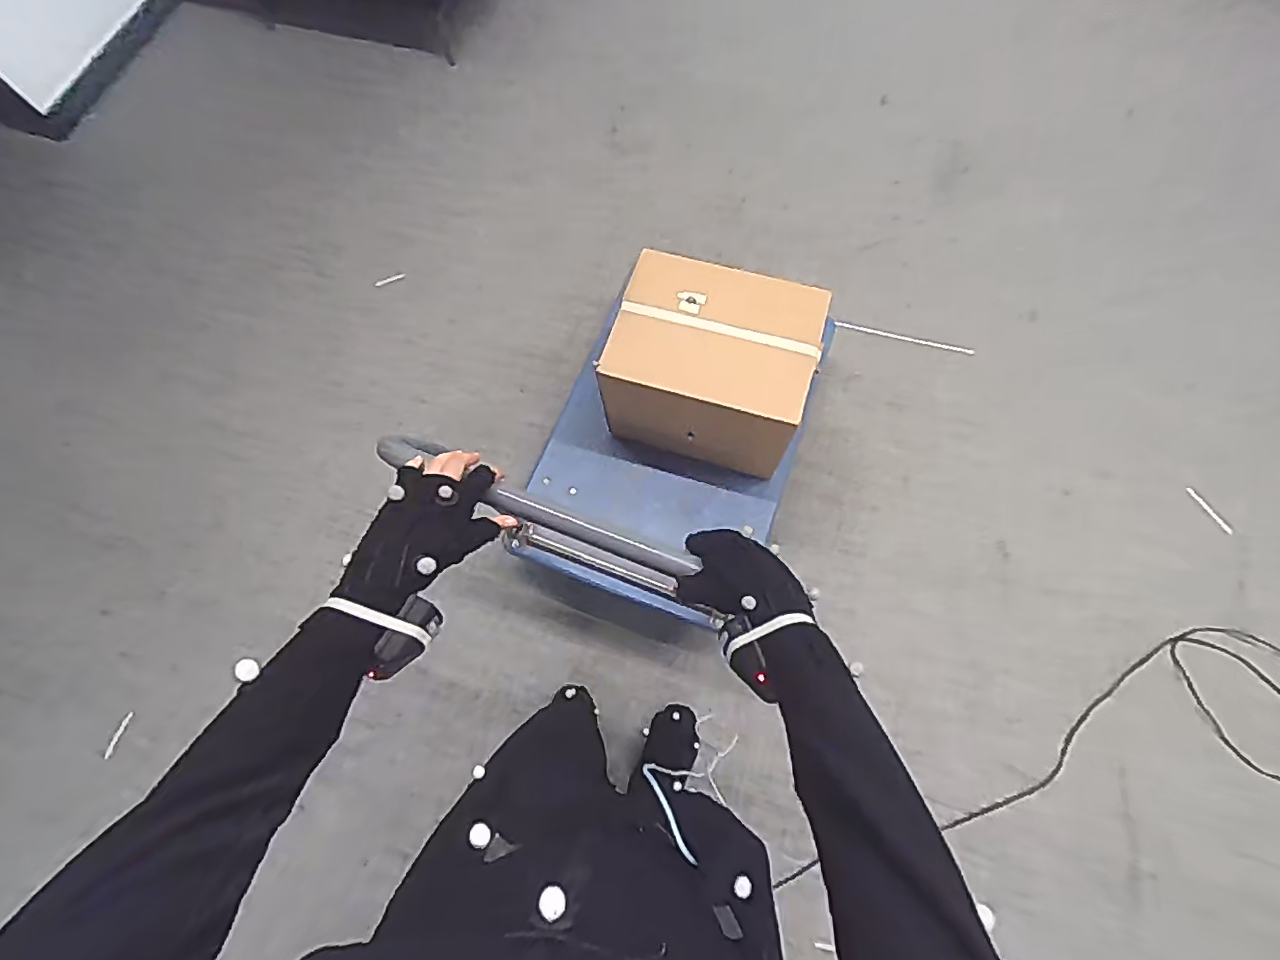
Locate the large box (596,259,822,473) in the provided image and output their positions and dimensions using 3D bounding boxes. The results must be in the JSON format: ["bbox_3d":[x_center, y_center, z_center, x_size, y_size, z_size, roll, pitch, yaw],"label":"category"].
[{"bbox_3d":[0.155,-0.242,1.227,0.408,0.320,0.320,15,72,9],"label":"large box"}]
